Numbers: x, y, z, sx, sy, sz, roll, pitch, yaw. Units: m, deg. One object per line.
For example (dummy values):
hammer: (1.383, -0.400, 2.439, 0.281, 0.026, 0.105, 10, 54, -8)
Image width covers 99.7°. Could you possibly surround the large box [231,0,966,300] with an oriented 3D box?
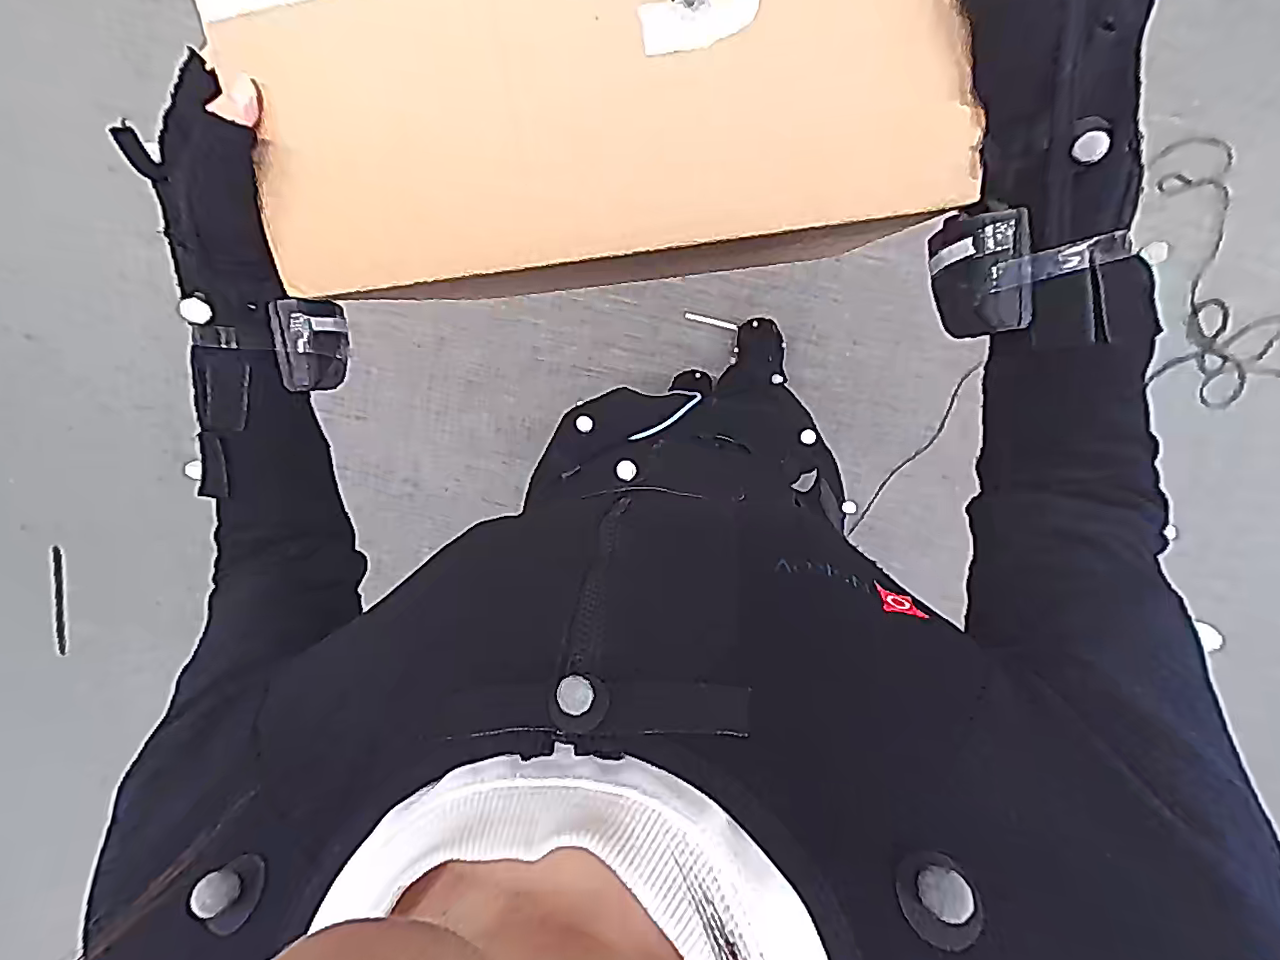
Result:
large box: (-0.024, -0.332, 0.423, 0.408, 0.320, 0.320, -5, 108, 9)
